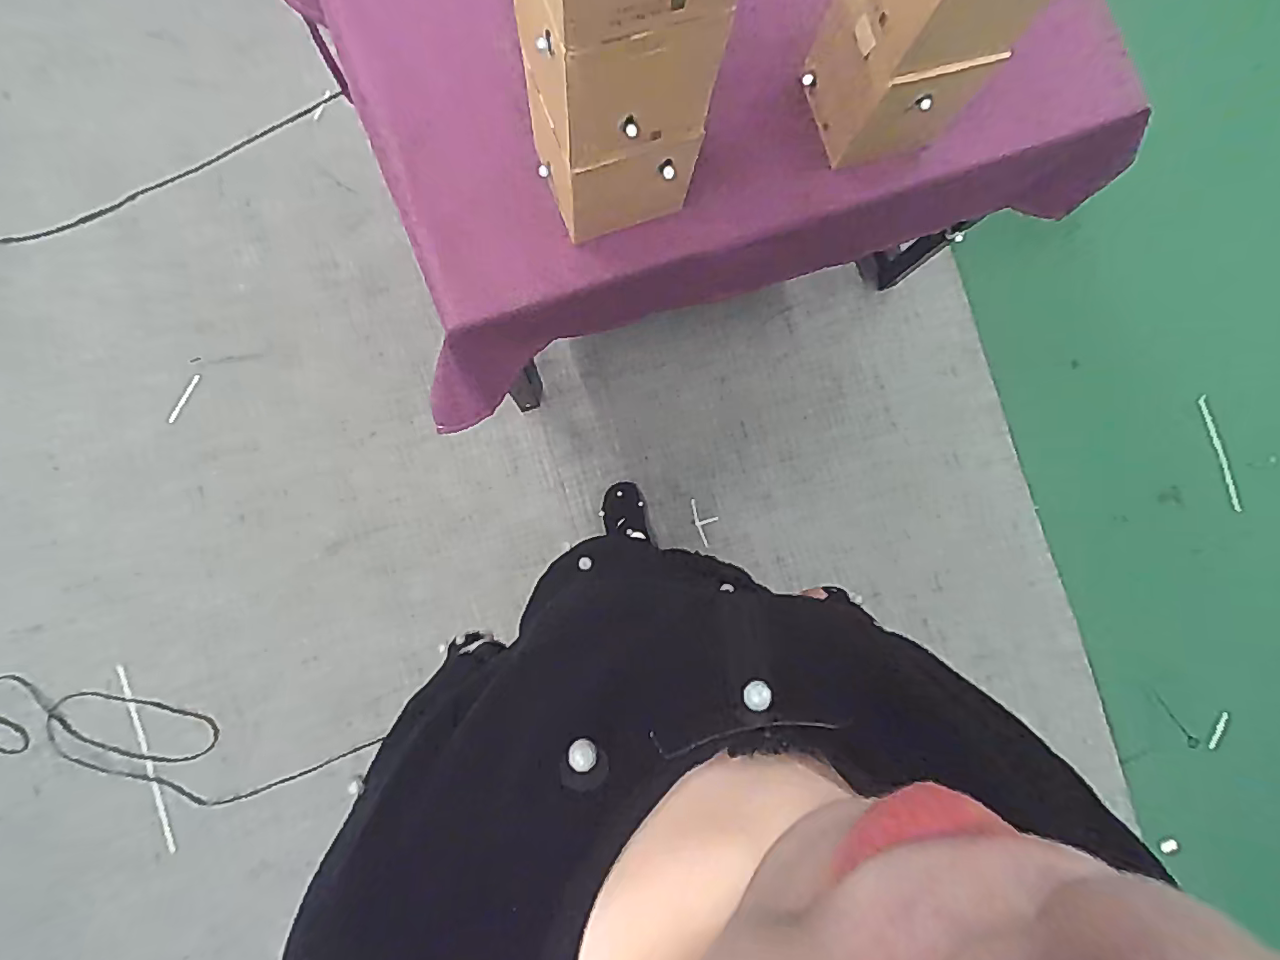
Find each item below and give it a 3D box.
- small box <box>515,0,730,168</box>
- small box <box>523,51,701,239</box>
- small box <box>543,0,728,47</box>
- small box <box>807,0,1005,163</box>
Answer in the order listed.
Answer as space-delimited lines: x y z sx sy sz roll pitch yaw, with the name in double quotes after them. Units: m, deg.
-0.031 -0.474 0.564 0.168 0.176 0.179 -21 89 -7 "small box"
-0.041 -0.459 0.726 0.179 0.176 0.168 -21 88 -6 "small box"
-0.015 -0.483 0.400 0.168 0.176 0.179 -20 88 -6 "small box"
0.359 -0.590 0.771 0.179 0.176 0.168 -18 88 -7 "small box"
